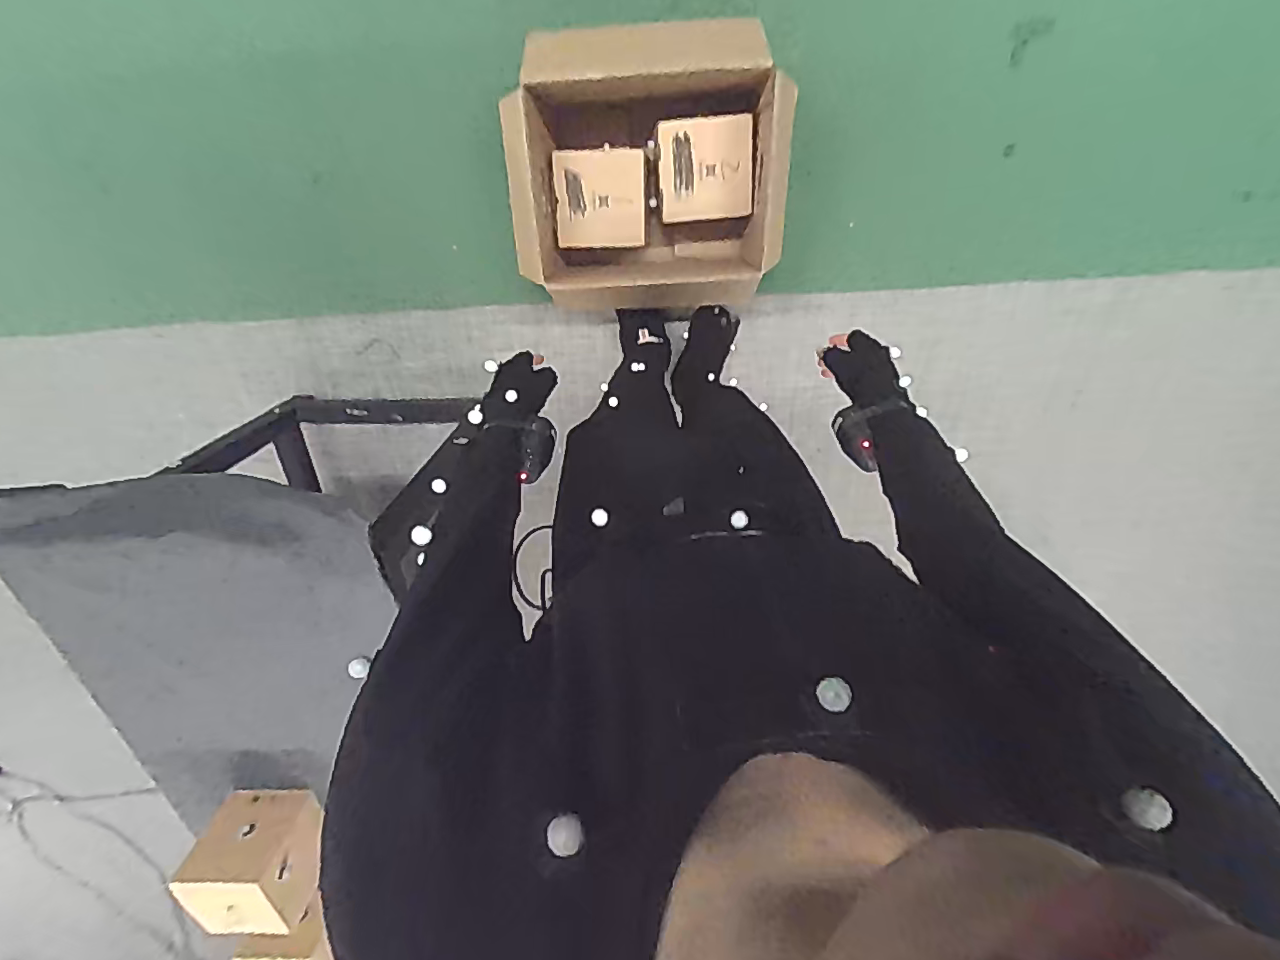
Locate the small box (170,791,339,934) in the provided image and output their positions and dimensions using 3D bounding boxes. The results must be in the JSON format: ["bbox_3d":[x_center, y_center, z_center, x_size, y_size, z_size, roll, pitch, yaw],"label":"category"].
[{"bbox_3d":[-0.711,0.717,1.023,0.168,0.176,0.179,-2,118,4],"label":"small box"}]
